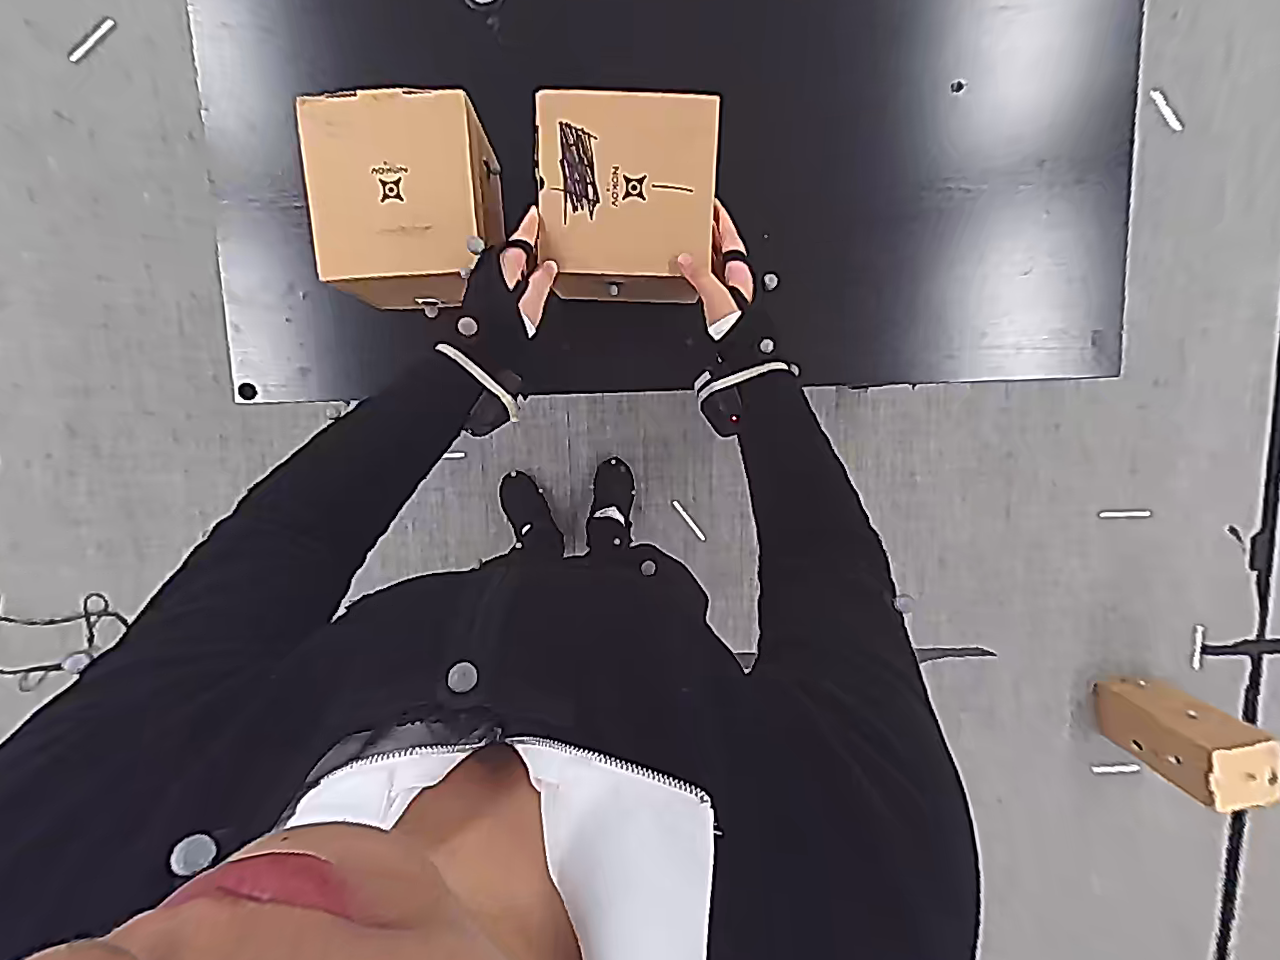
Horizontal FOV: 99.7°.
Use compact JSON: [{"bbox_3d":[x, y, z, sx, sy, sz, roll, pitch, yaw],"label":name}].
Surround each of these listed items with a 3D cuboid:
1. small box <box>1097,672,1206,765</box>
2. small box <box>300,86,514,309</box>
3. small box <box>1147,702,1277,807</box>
[{"bbox_3d":[1.468,0.683,1.561,0.168,0.176,0.179,-8,98,-2],"label":"small box"},{"bbox_3d":[-0.247,-0.305,0.618,0.168,0.176,0.179,-5,98,-1],"label":"small box"},{"bbox_3d":[1.467,0.702,1.398,0.179,0.176,0.168,-9,98,-1],"label":"small box"}]
